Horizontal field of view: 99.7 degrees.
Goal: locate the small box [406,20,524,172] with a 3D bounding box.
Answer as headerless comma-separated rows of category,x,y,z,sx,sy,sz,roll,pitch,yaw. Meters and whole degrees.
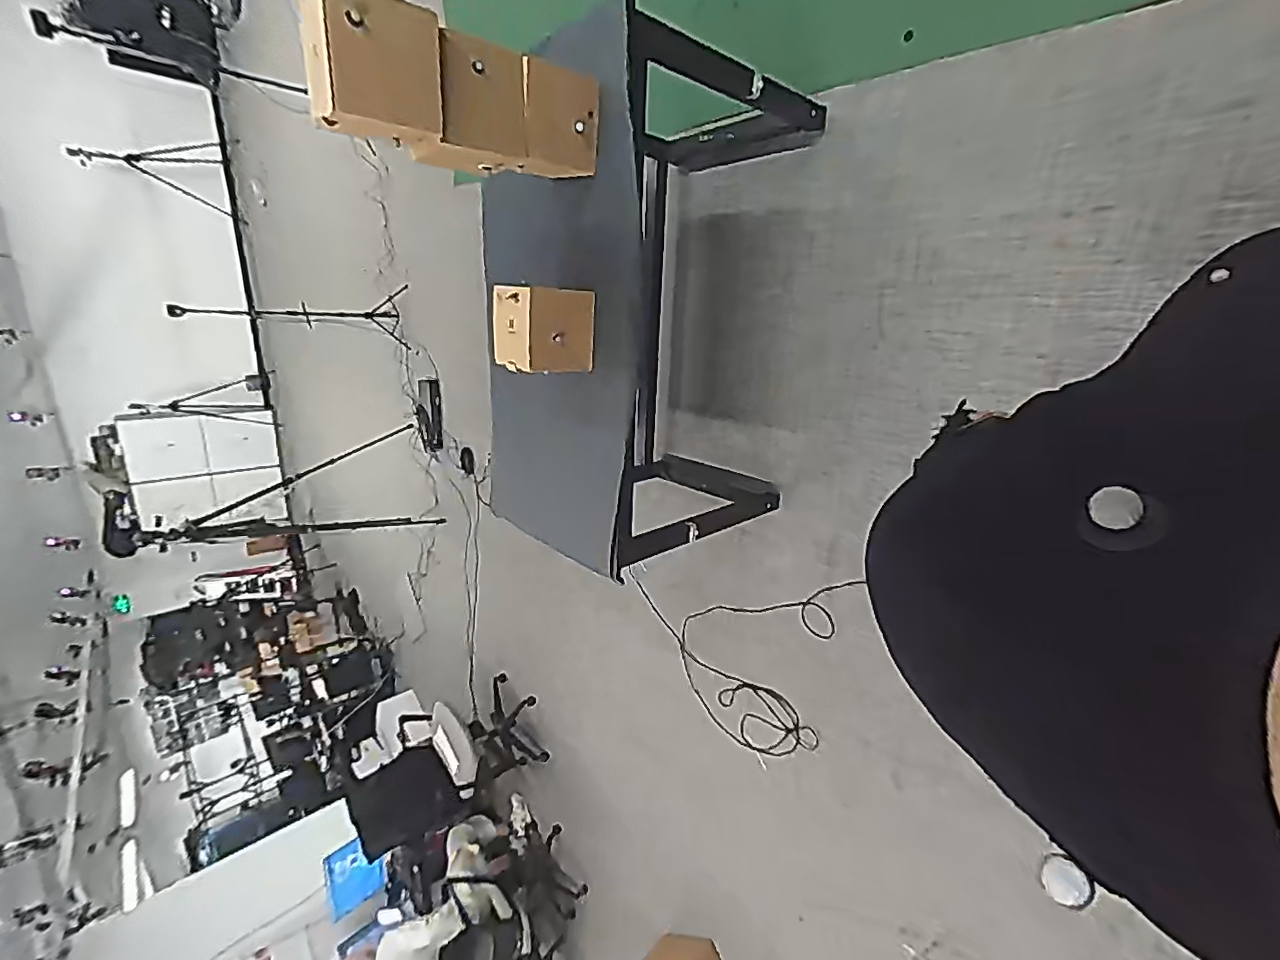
small box,-0.330,-0.695,1.003,0.168,0.176,0.179,20,116,48

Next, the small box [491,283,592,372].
small box,-0.221,-0.350,1.229,0.168,0.176,0.179,24,118,44

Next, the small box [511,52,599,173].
small box,-0.206,-0.734,1.101,0.179,0.176,0.168,28,121,43

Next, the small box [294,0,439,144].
small box,-0.441,-0.673,0.881,0.168,0.176,0.179,26,120,46
